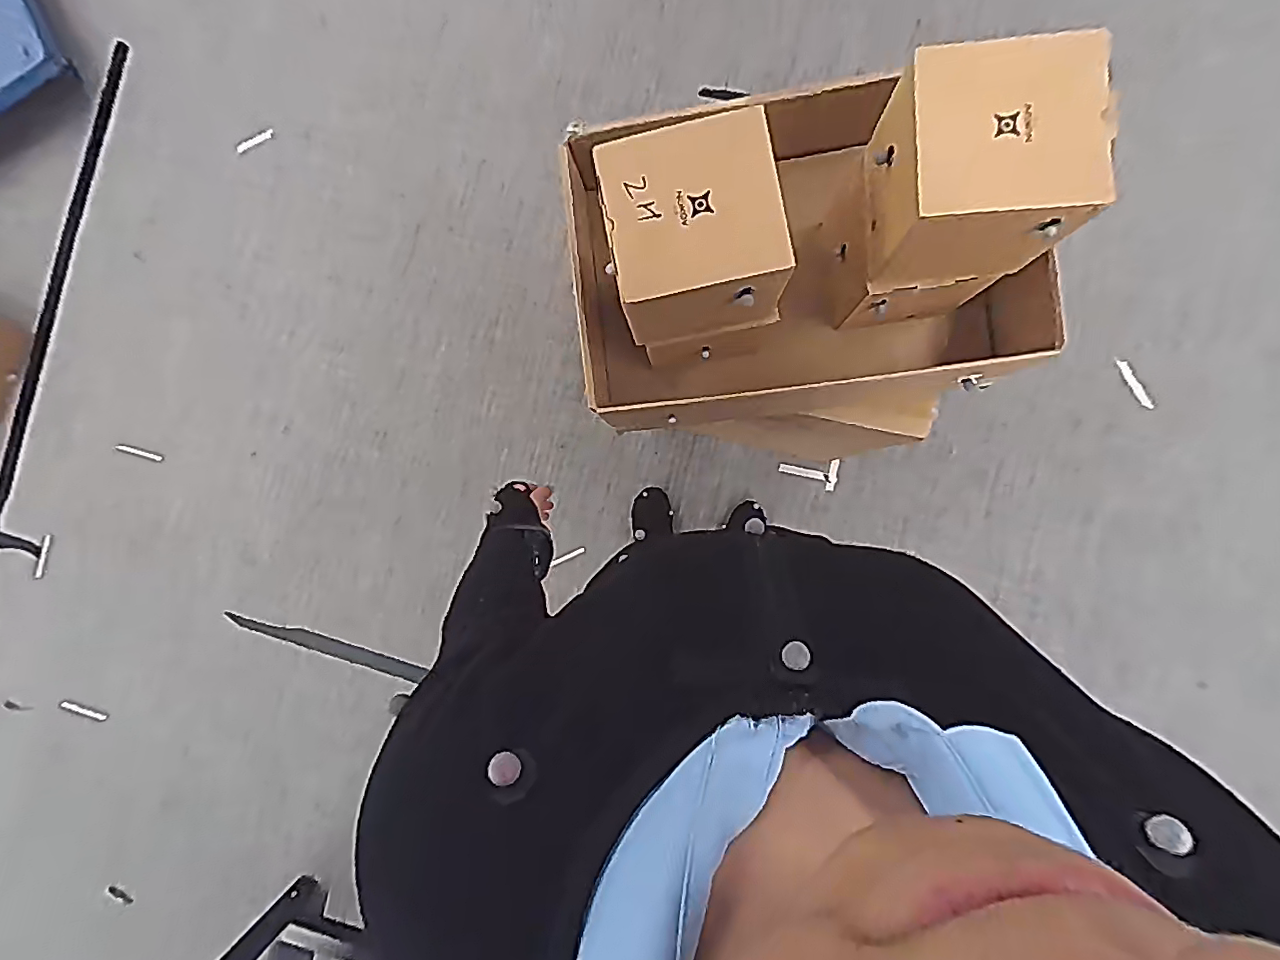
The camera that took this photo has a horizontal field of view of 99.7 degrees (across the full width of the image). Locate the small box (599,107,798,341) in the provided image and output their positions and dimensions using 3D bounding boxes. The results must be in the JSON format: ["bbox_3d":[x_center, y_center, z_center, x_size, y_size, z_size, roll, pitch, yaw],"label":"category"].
[{"bbox_3d":[0.063,-0.271,0.614,0.179,0.176,0.168,-11,88,5],"label":"small box"}]

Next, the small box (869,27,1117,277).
[{"bbox_3d":[0.358,-0.333,0.587,0.179,0.176,0.168,-2,89,6],"label":"small box"}]
